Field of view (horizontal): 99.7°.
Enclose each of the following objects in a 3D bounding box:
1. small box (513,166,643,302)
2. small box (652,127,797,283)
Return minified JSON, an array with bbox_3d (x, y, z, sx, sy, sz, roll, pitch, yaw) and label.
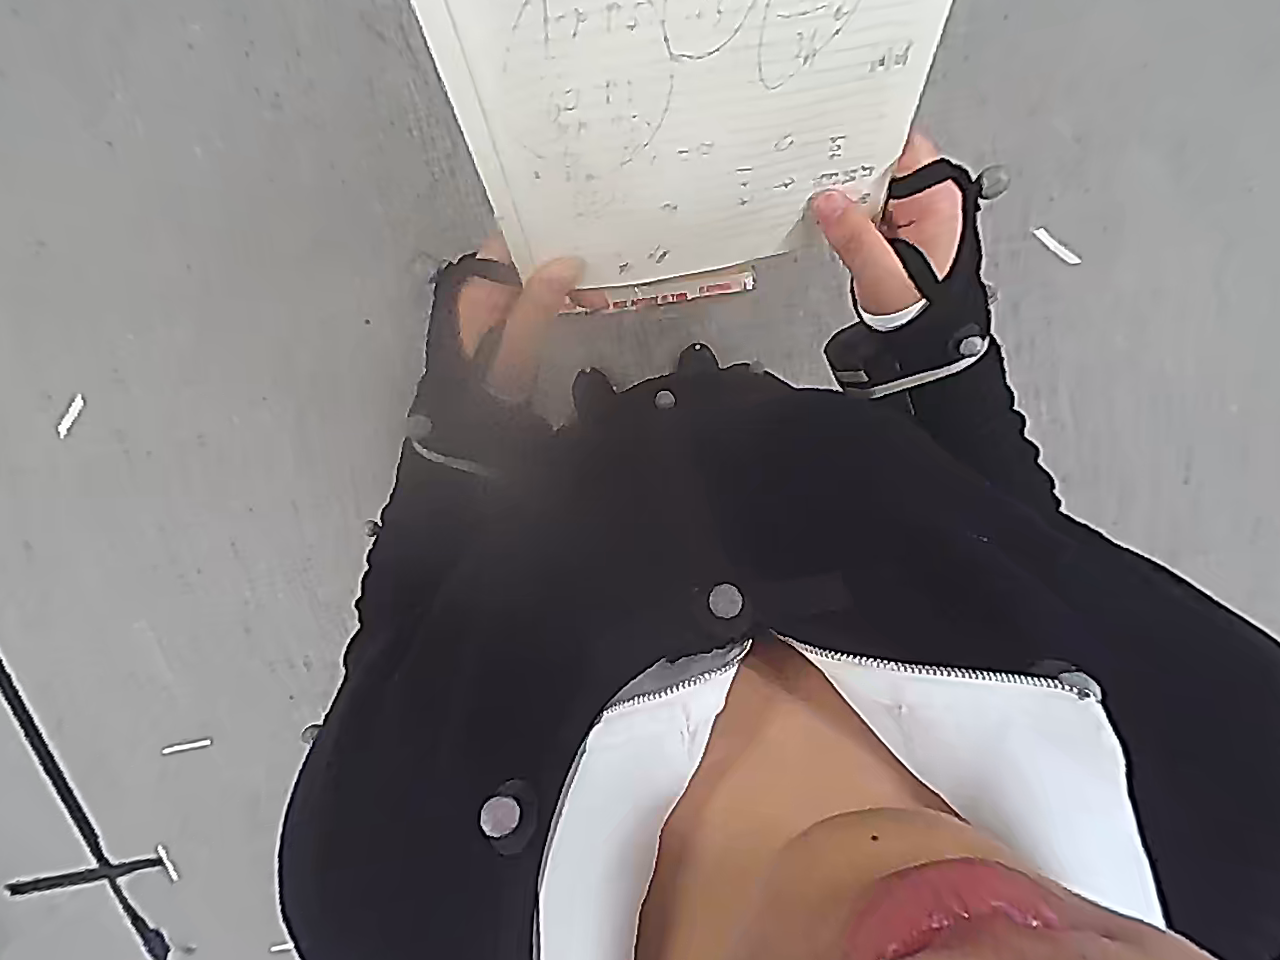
[{"bbox_3d":[-0.088,-0.376,0.851,0.179,0.176,0.168,-4,104,1],"label":"small box"},{"bbox_3d":[0.124,-0.417,0.848,0.179,0.176,0.168,-13,104,0],"label":"small box"}]
